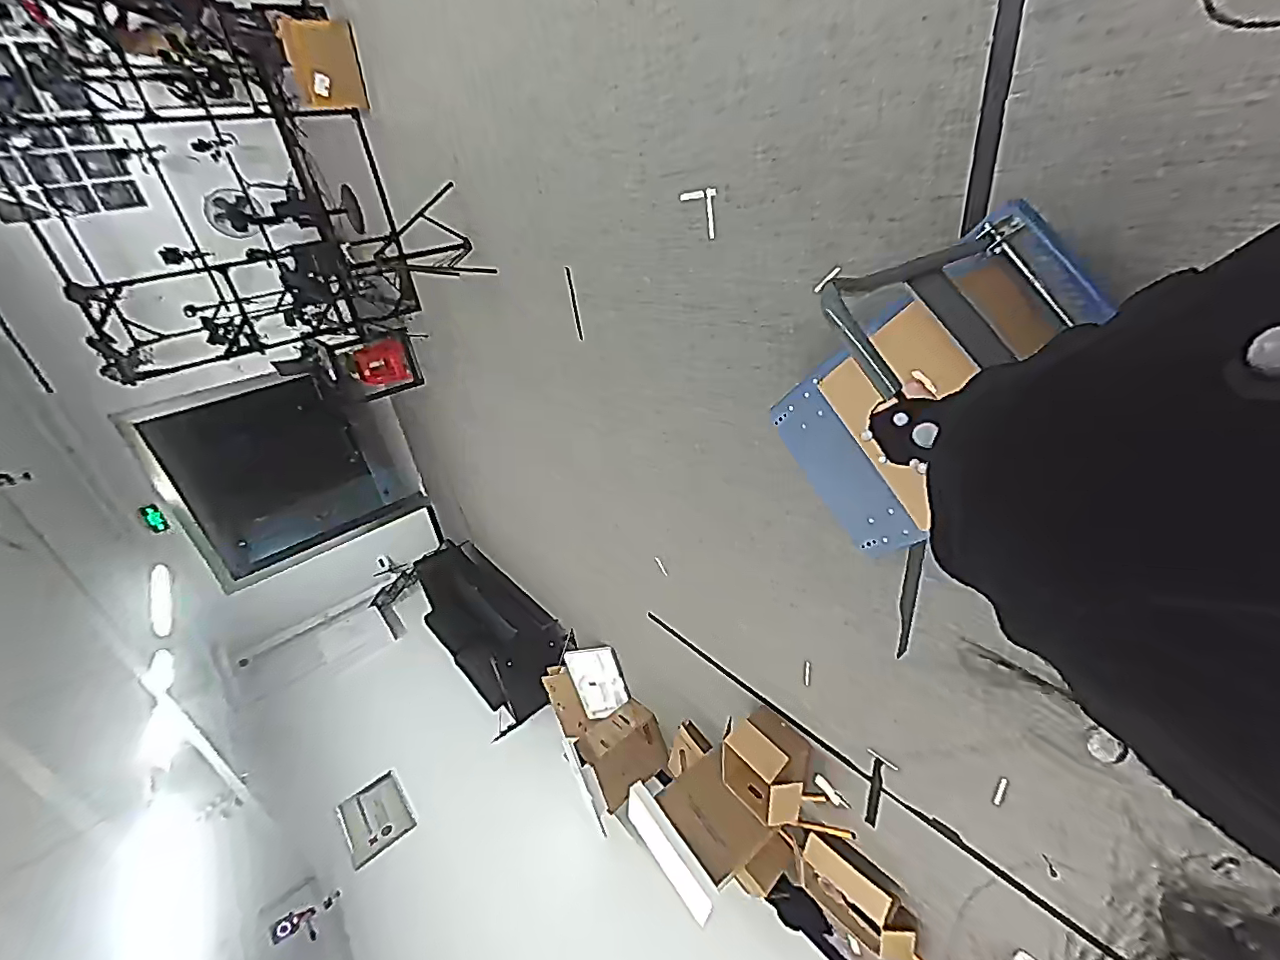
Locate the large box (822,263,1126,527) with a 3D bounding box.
[{"bbox_3d":[0.688,-0.177,1.145,0.408,0.320,0.320,58,148,10],"label":"large box"}]
